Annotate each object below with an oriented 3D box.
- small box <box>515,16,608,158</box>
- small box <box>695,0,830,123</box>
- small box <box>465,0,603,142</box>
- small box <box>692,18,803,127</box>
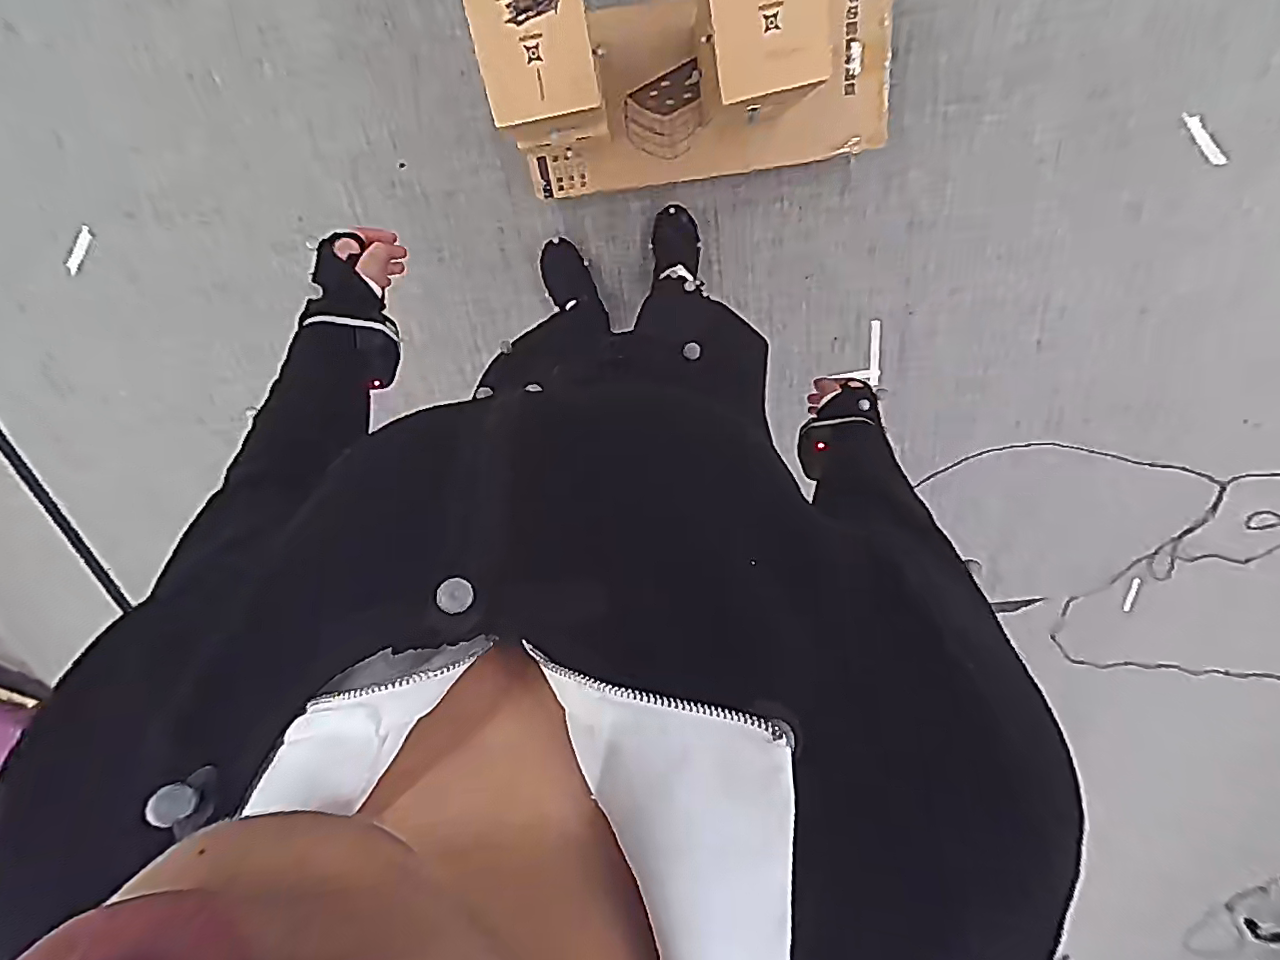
[{"bbox_3d":[-0.154,-0.714,1.002,0.168,0.176,0.179,-8,117,3],"label":"small box"},{"bbox_3d":[0.184,-0.685,0.841,0.168,0.176,0.179,-11,117,6],"label":"small box"},{"bbox_3d":[-0.155,-0.653,0.849,0.168,0.176,0.179,-9,117,4],"label":"small box"},{"bbox_3d":[0.192,-0.760,0.984,0.168,0.176,0.179,-9,118,3],"label":"small box"}]
